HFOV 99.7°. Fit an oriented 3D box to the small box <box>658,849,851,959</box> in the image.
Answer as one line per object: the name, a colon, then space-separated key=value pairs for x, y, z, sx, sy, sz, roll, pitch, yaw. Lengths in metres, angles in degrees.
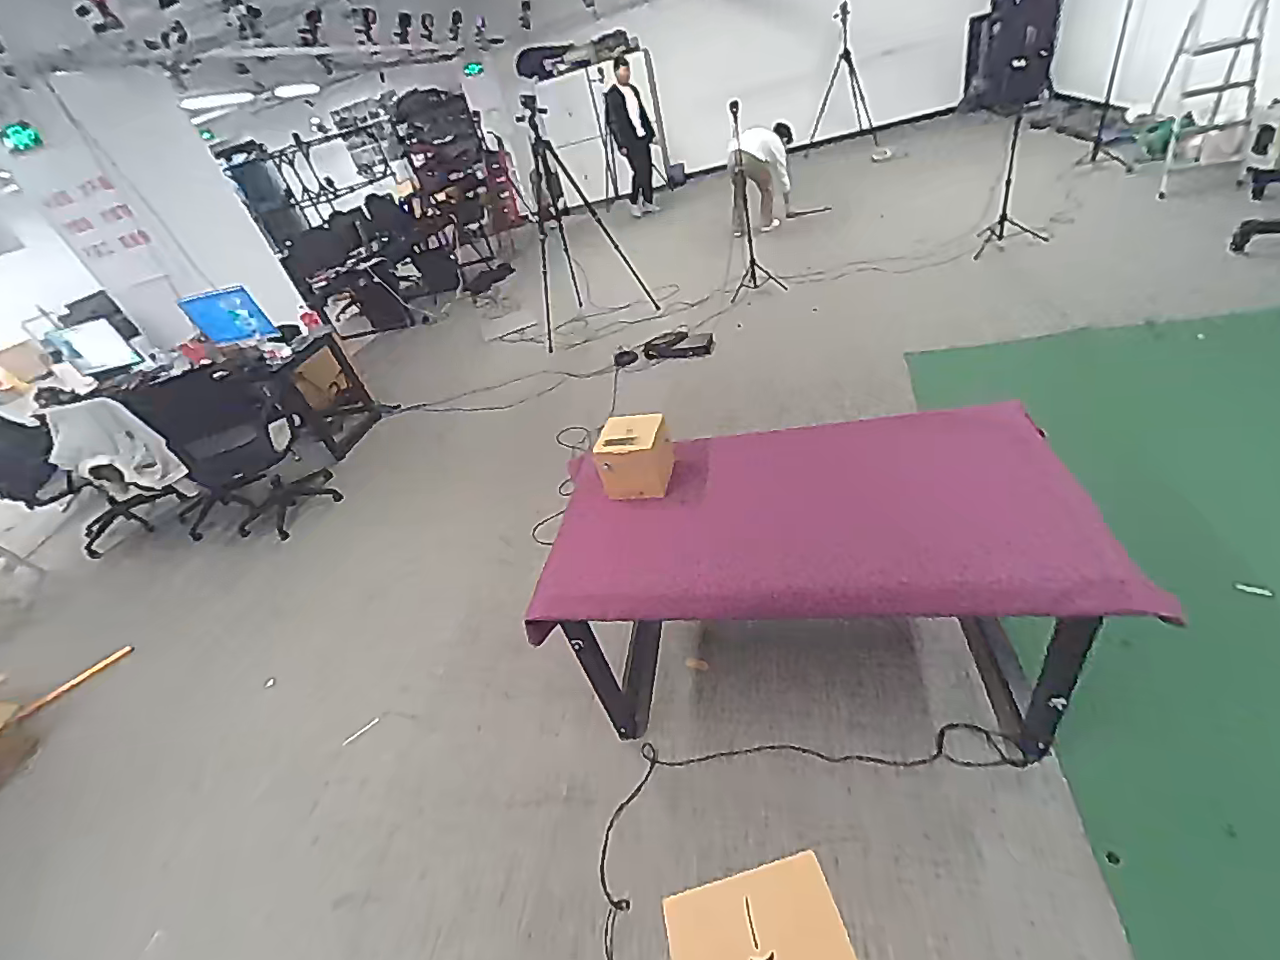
small box: x=0.131 y=0.506 z=0.523 sx=0.168 sy=0.176 sz=0.179 roll=-19 pitch=34 yaw=0
